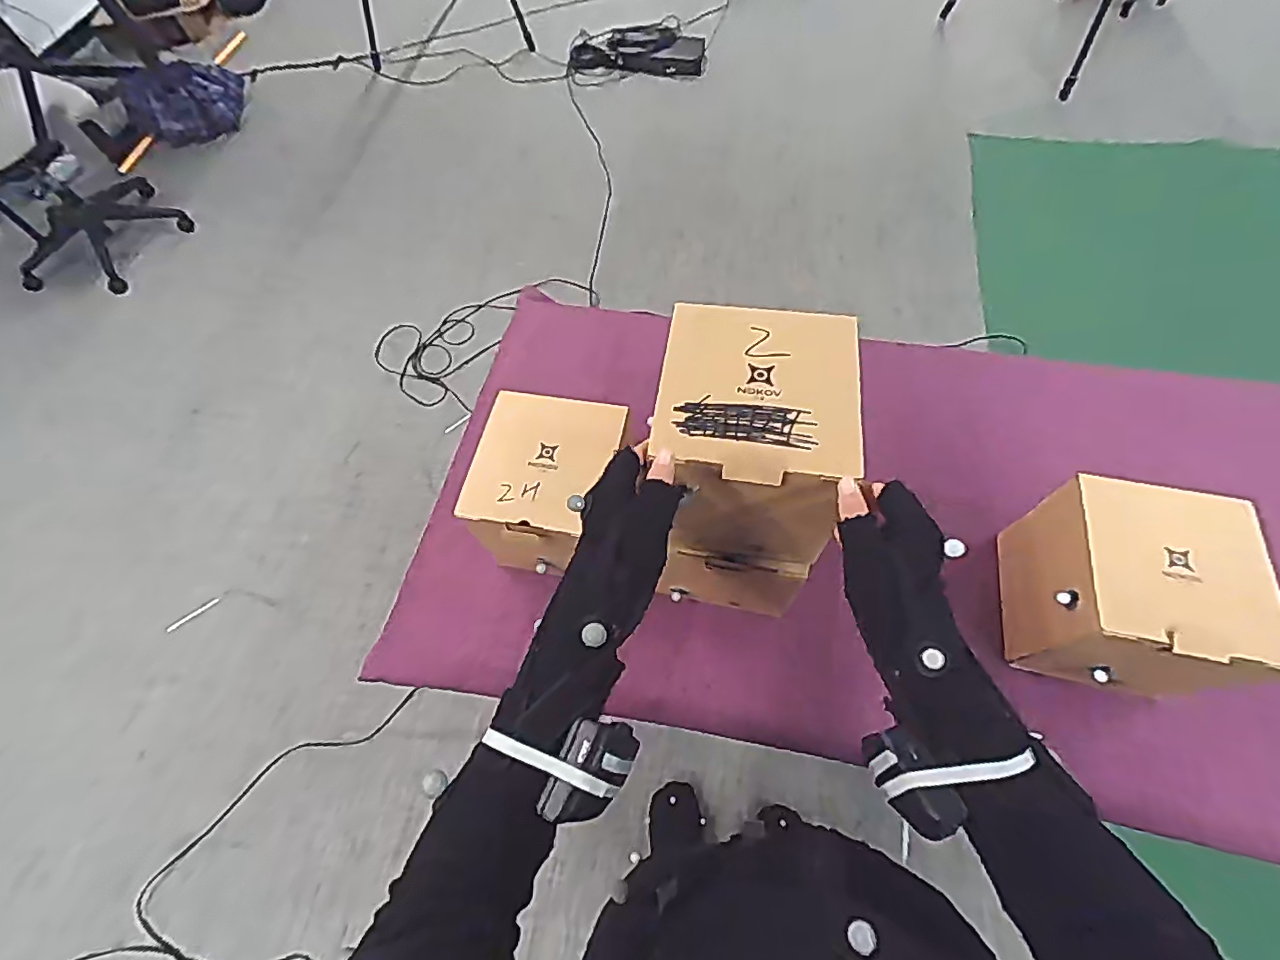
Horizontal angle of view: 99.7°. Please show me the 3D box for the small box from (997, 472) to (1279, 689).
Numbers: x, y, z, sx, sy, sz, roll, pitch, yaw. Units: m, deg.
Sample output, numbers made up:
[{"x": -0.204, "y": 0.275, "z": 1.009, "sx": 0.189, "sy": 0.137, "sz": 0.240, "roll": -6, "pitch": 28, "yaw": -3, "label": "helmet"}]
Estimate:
[{"x": 0.528, "y": 0.118, "z": 0.604, "sx": 0.168, "sy": 0.176, "sz": 0.179, "roll": 10, "pitch": 63, "yaw": 9, "label": "small box"}]

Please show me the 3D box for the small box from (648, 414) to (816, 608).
[{"x": 0.111, "y": 0.046, "z": 0.669, "sx": 0.168, "sy": 0.176, "sz": 0.179, "roll": 10, "pitch": 63, "yaw": 8, "label": "small box"}]

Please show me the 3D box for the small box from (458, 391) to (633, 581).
[{"x": -0.105, "y": 0.012, "z": 0.700, "sx": 0.168, "sy": 0.176, "sz": 0.179, "roll": 8, "pitch": 63, "yaw": 8, "label": "small box"}]
